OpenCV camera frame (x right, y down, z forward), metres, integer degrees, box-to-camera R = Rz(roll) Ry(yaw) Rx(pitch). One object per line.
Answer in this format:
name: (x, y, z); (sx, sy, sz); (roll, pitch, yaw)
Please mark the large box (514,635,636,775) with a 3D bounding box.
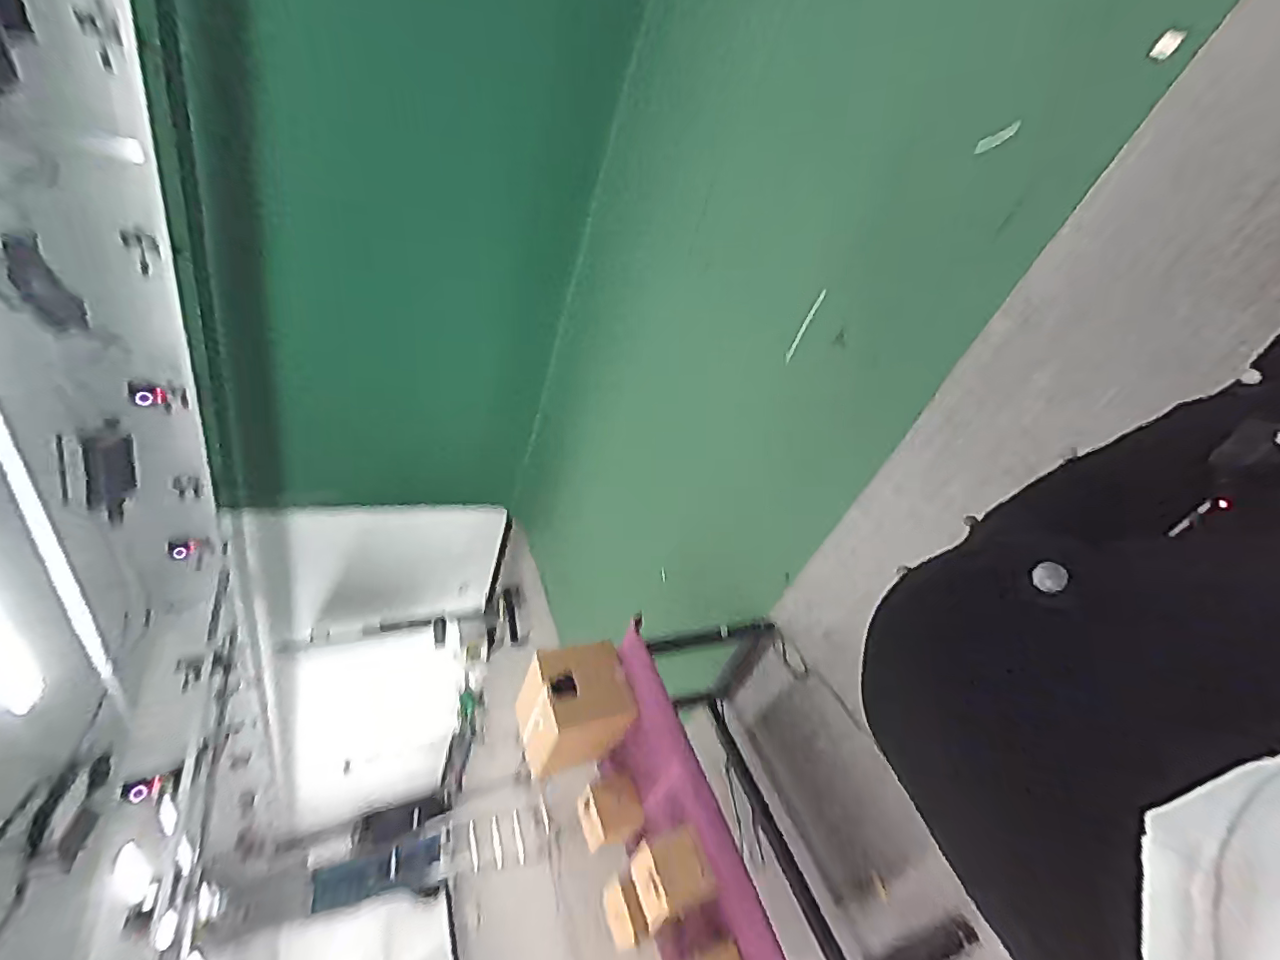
large box: (-0.258, 0.849, 2.059); (0.320, 0.320, 0.408); (60, 138, 39)
